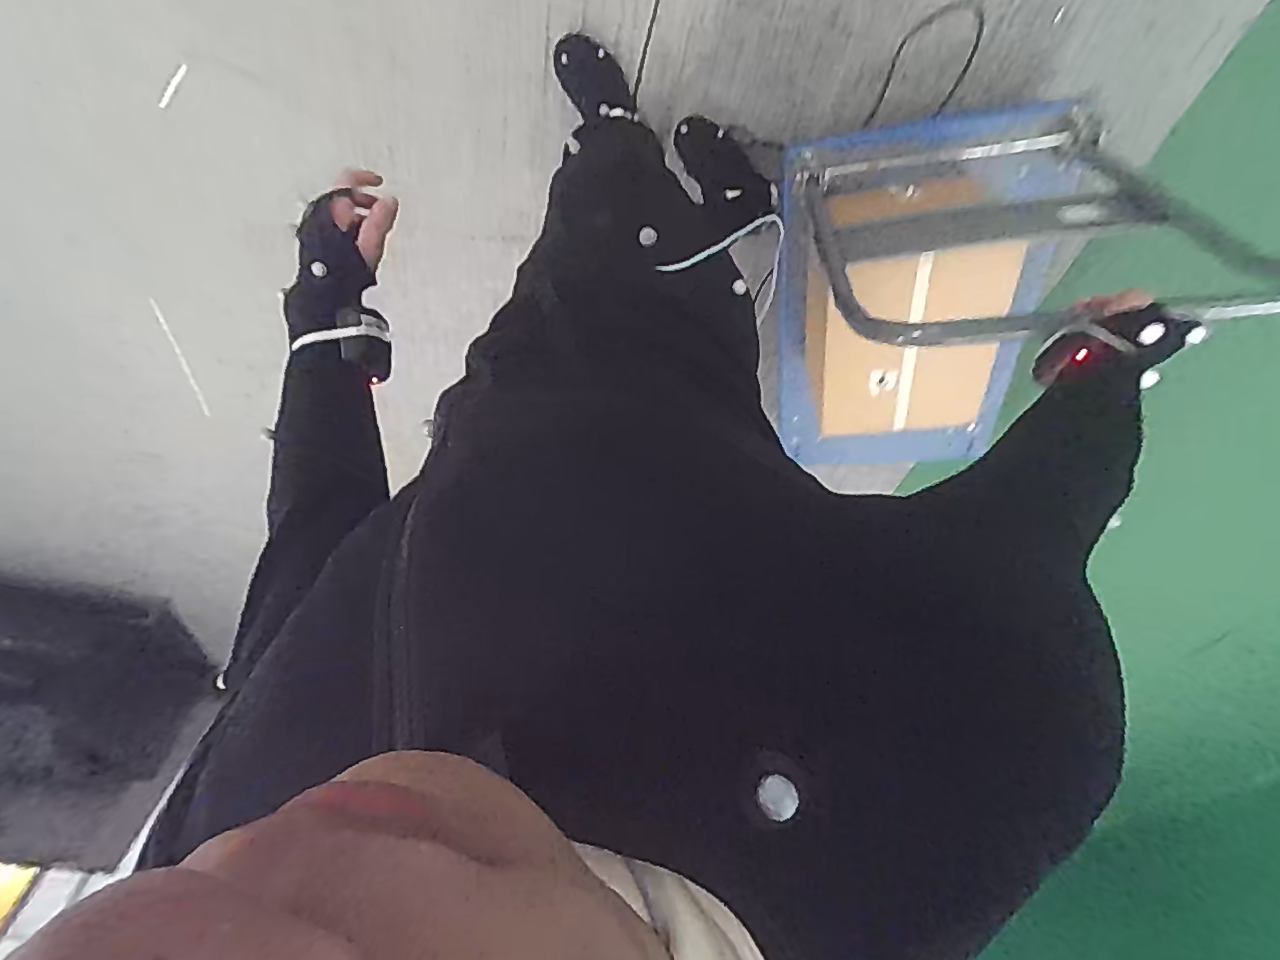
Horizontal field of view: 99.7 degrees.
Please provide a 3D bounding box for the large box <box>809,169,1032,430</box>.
[{"bbox_3d":[0.535,-0.366,1.133,0.320,0.320,0.408,-3,134,12],"label":"large box"}]
